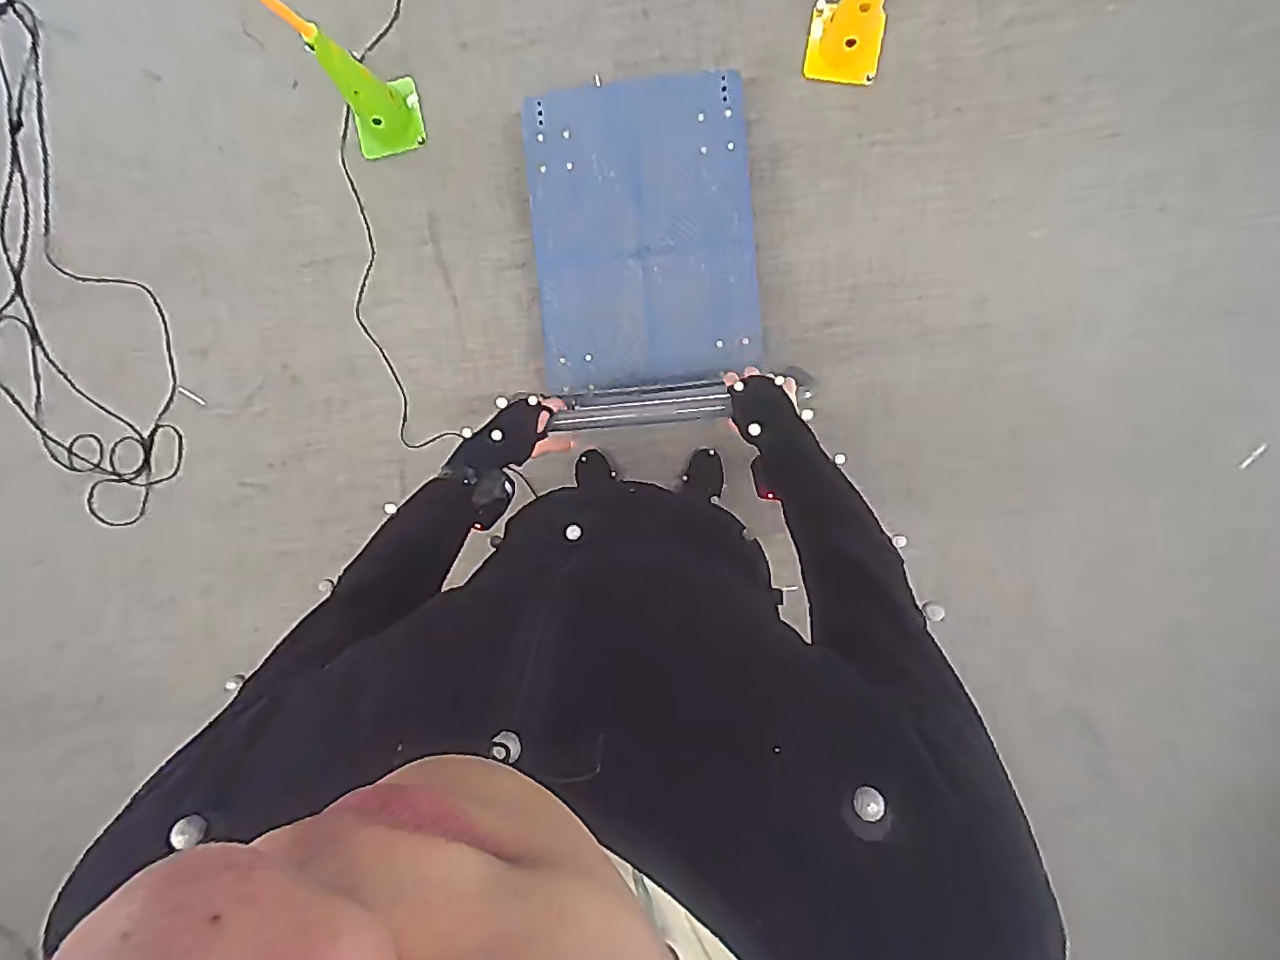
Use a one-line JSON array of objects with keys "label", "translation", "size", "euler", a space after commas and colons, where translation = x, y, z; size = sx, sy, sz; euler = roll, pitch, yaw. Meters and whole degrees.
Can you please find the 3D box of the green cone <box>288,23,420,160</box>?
[{"label": "green cone", "translation": [-0.771, -1.048, 1.418], "size": [0.202, 0.368, 0.200], "euler": [-12, 93, 6]}]
